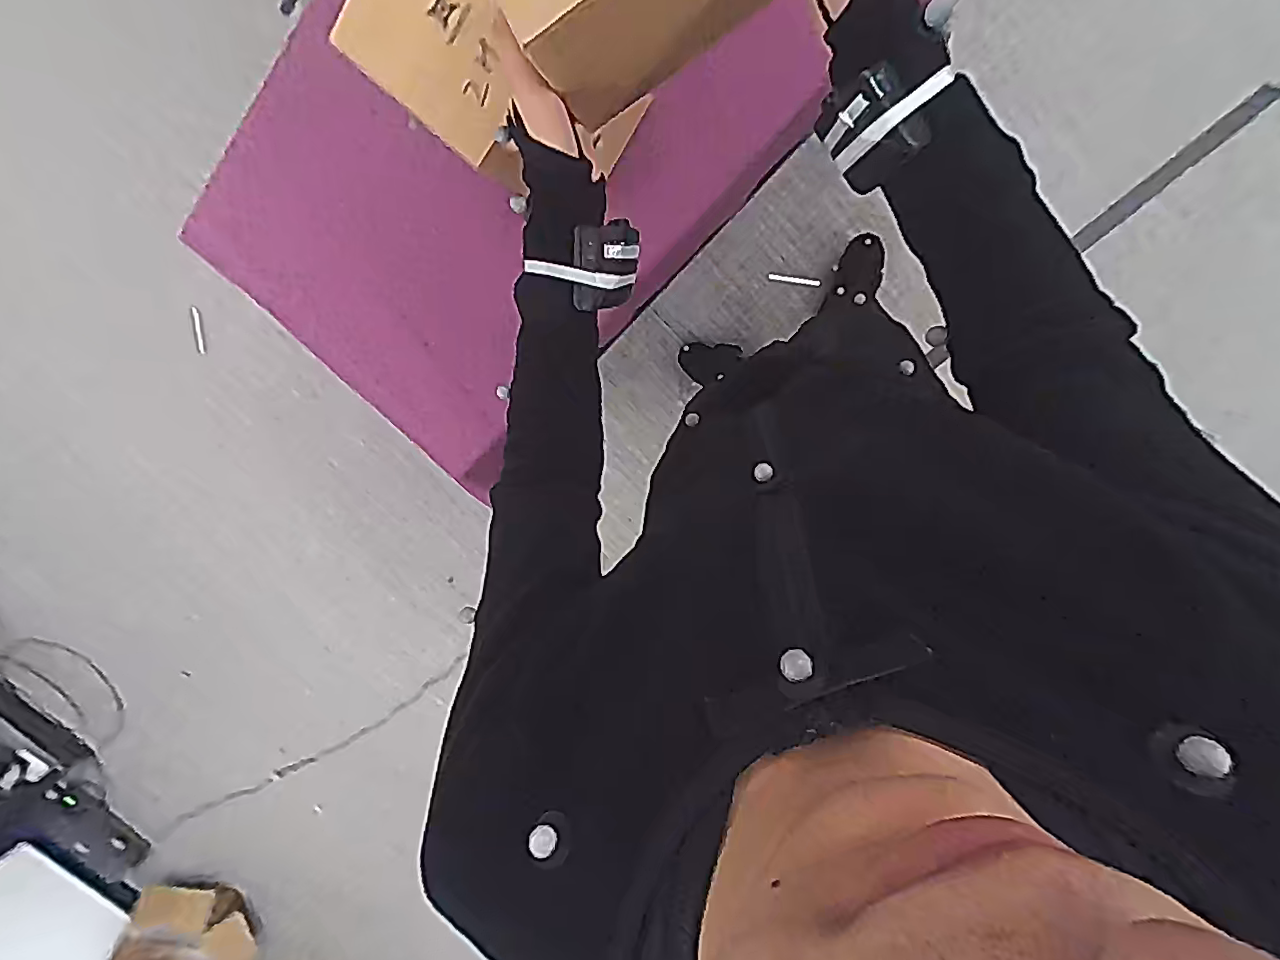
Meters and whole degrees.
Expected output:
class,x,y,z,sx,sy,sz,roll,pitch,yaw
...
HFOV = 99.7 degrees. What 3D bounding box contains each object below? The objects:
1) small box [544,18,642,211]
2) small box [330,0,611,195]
class,x,y,z,sx,sy,sz,roll,pitch,yaw
small box,-0.112,-0.479,0.695,0.168,0.176,0.179,35,108,-4
small box,-0.154,-0.420,0.545,0.179,0.176,0.168,40,109,-5
